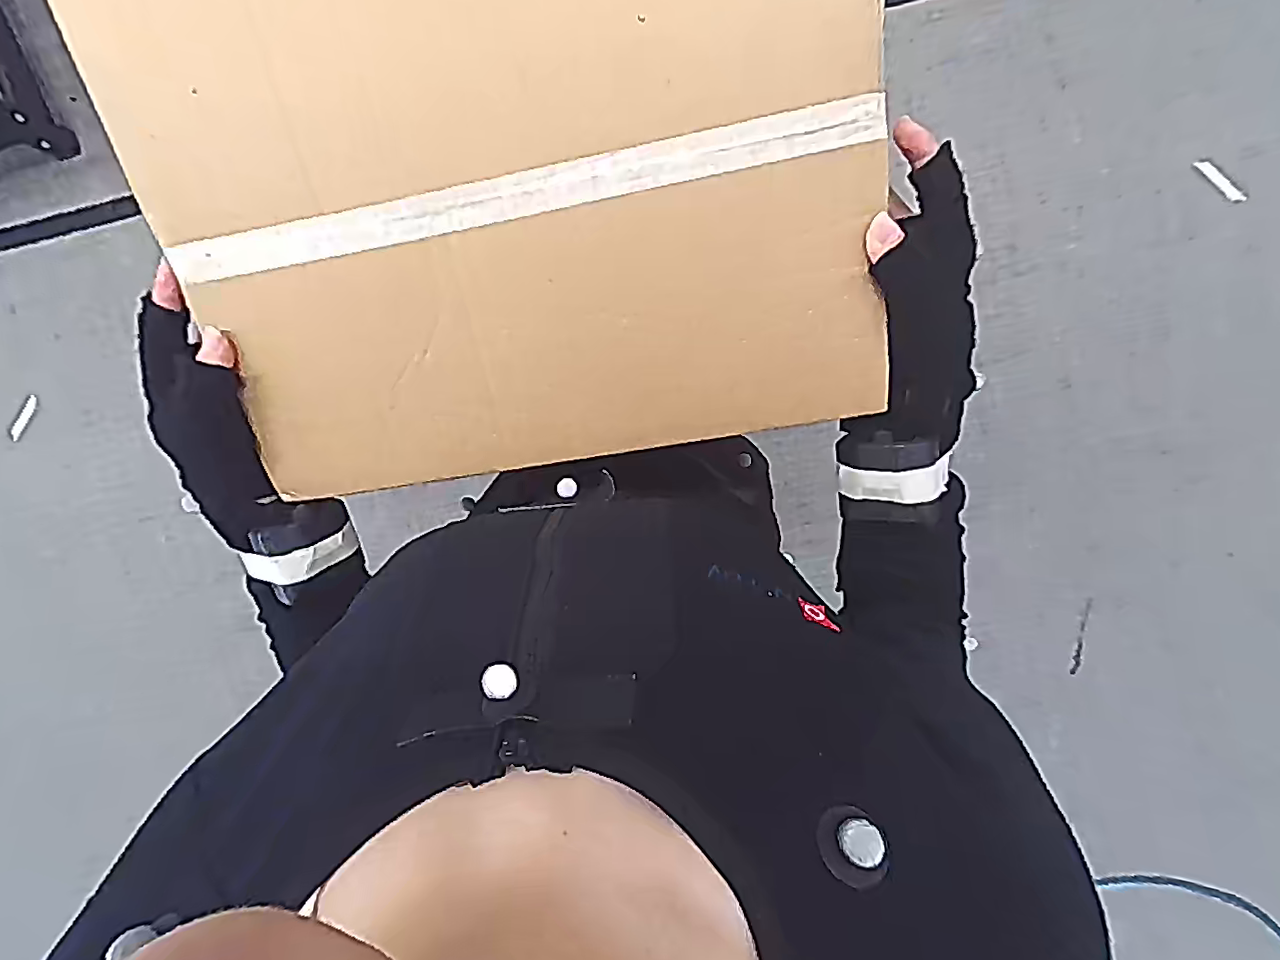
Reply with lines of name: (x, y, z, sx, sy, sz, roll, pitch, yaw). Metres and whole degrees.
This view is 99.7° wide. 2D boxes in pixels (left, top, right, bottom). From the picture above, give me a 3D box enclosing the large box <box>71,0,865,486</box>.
large box: (-0.071, -0.221, 0.444, 0.408, 0.320, 0.320, -8, 111, 6)
